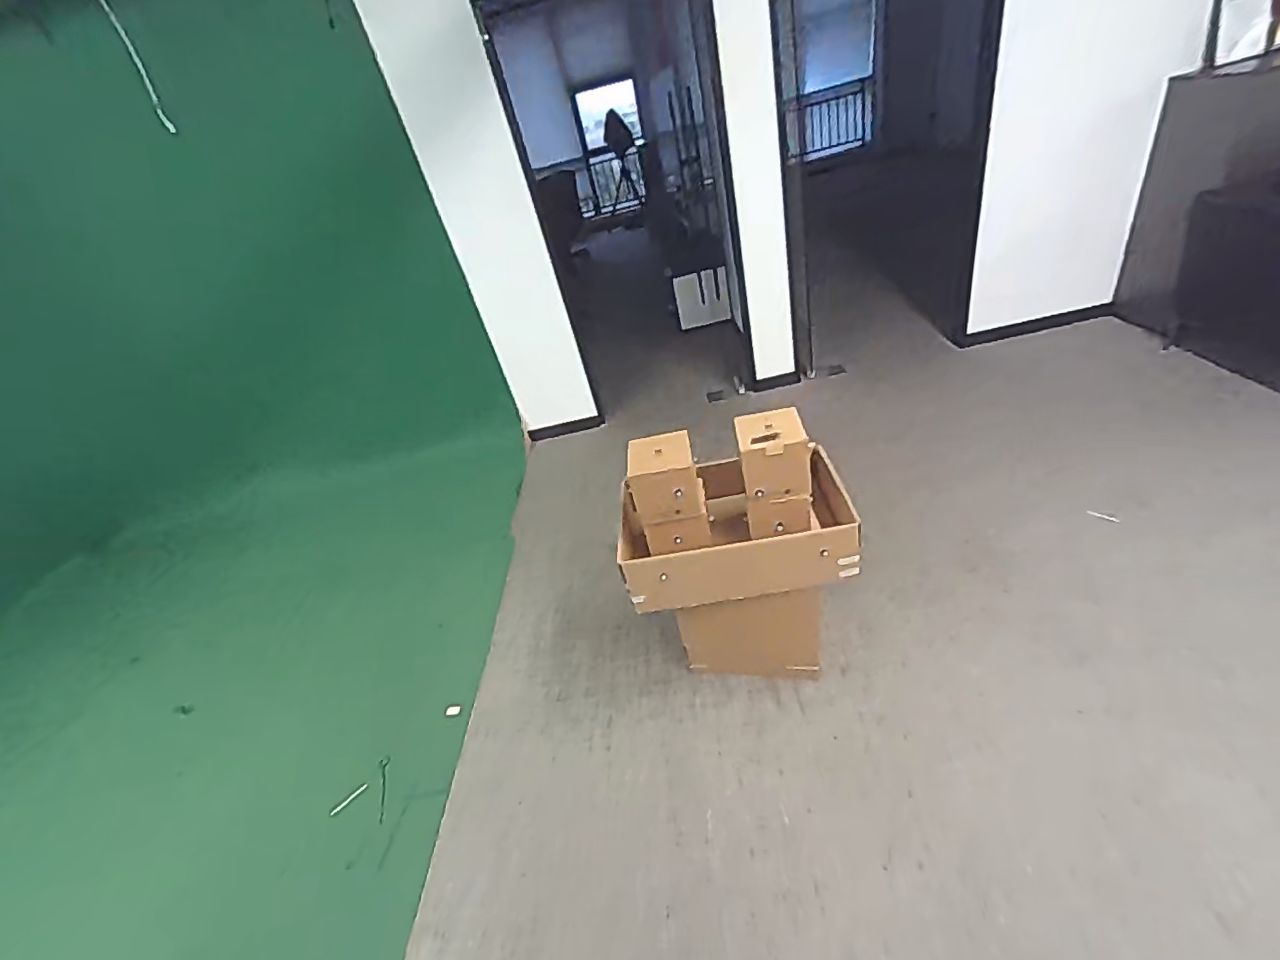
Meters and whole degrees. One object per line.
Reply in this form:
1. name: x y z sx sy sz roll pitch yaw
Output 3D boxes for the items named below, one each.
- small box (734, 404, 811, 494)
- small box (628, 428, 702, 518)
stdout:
1. small box: 0.349 -0.075 1.427 0.168 0.176 0.179 -10 34 10
2. small box: 0.070 -0.012 1.458 0.168 0.176 0.179 -11 34 8
